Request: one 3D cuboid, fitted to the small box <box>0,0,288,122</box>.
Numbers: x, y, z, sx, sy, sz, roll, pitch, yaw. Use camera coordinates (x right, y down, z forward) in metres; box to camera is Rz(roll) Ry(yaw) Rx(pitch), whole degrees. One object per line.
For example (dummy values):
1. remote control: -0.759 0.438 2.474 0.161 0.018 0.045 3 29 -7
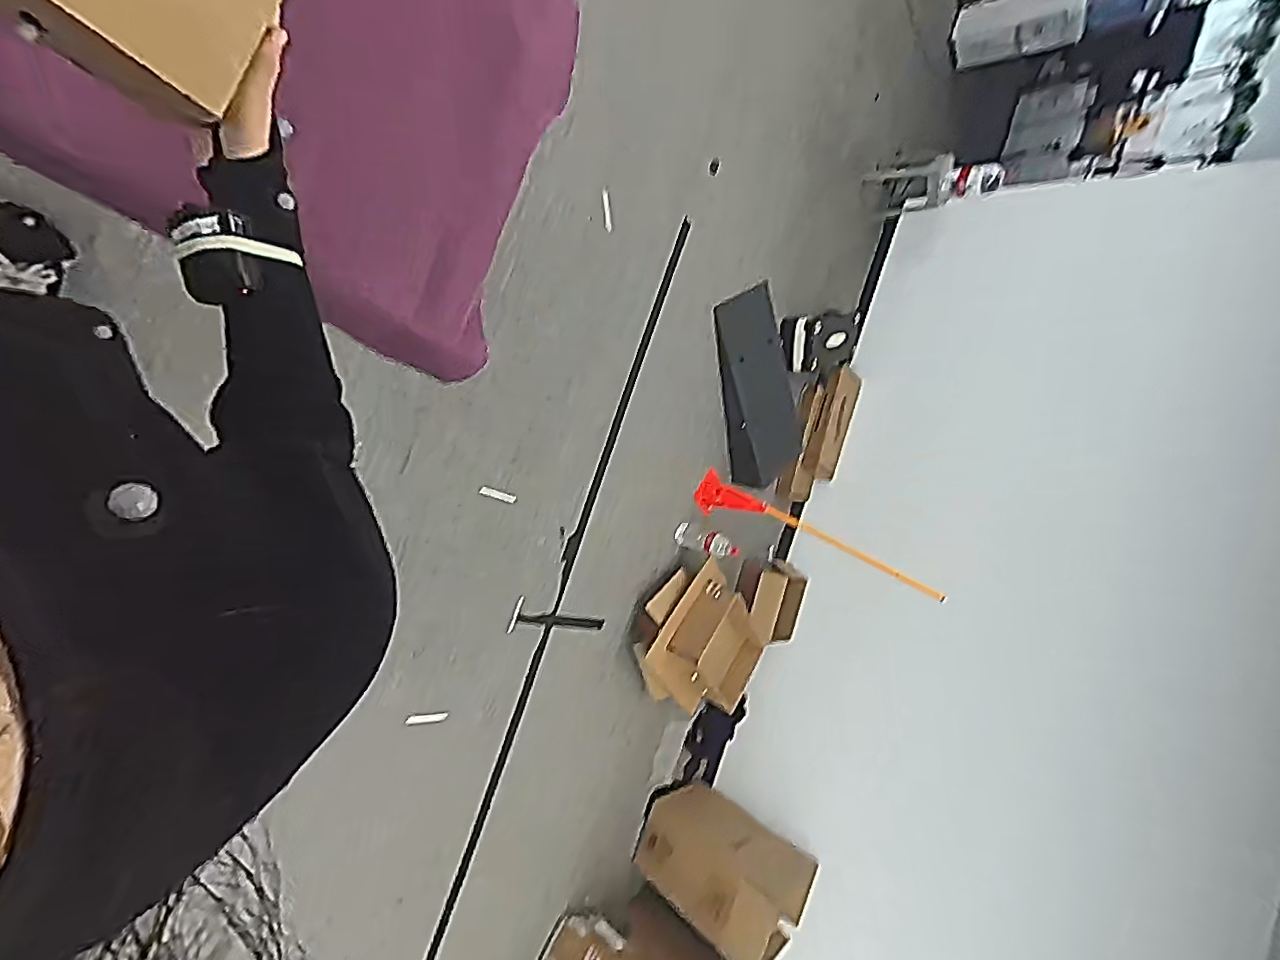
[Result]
1. small box: -0.358 -0.382 0.370 0.168 0.176 0.179 29 87 -53
